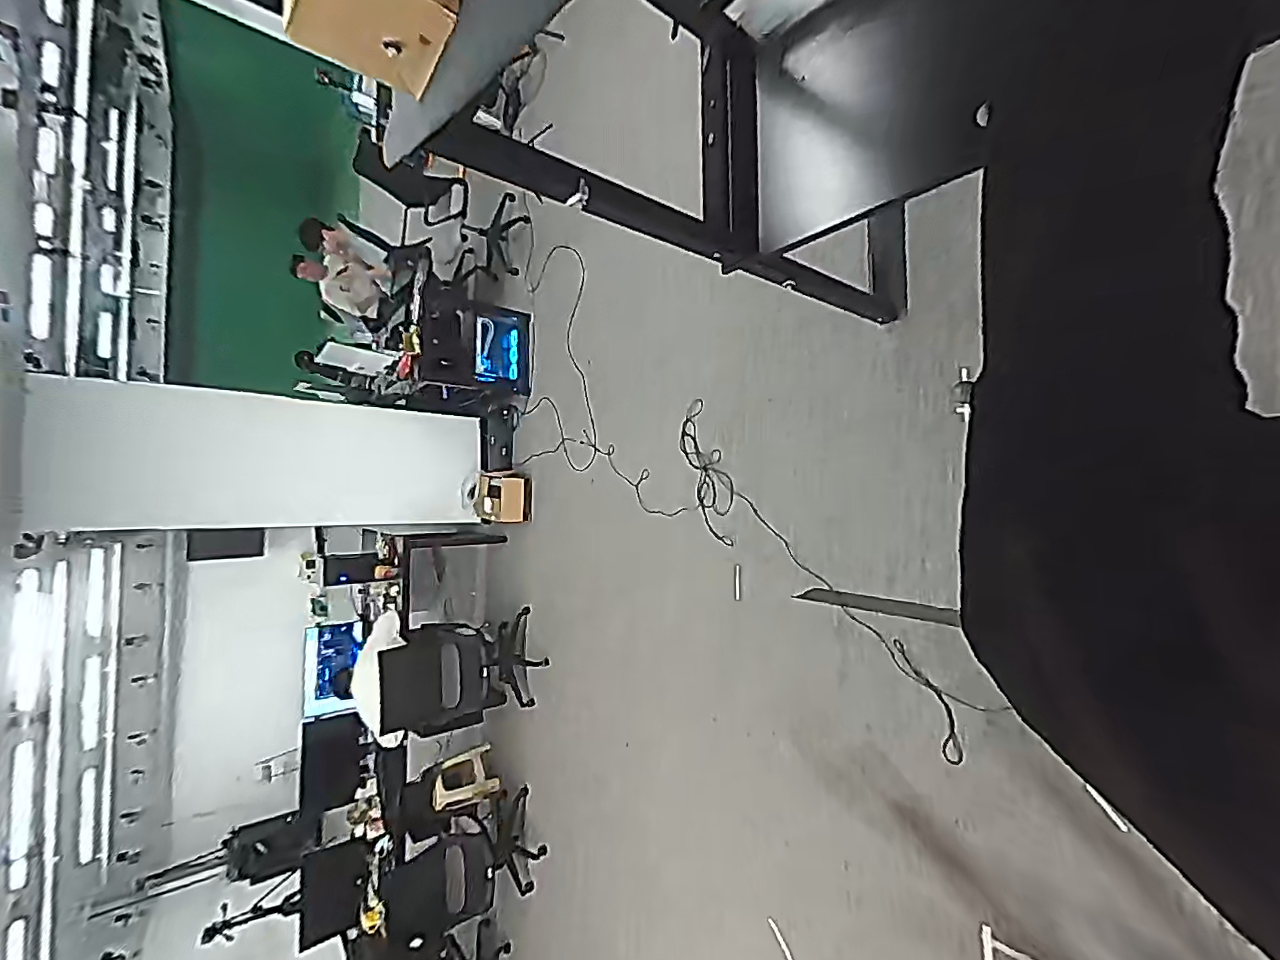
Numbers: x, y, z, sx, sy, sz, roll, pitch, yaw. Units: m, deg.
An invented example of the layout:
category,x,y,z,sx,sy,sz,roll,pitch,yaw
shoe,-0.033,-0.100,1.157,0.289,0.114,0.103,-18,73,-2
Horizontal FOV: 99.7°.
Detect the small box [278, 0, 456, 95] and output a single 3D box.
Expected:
category,x,y,z,sx,sy,sz,roll,pitch,yaw
small box,-0.338,-0.638,0.671,0.168,0.176,0.179,-9,83,51
